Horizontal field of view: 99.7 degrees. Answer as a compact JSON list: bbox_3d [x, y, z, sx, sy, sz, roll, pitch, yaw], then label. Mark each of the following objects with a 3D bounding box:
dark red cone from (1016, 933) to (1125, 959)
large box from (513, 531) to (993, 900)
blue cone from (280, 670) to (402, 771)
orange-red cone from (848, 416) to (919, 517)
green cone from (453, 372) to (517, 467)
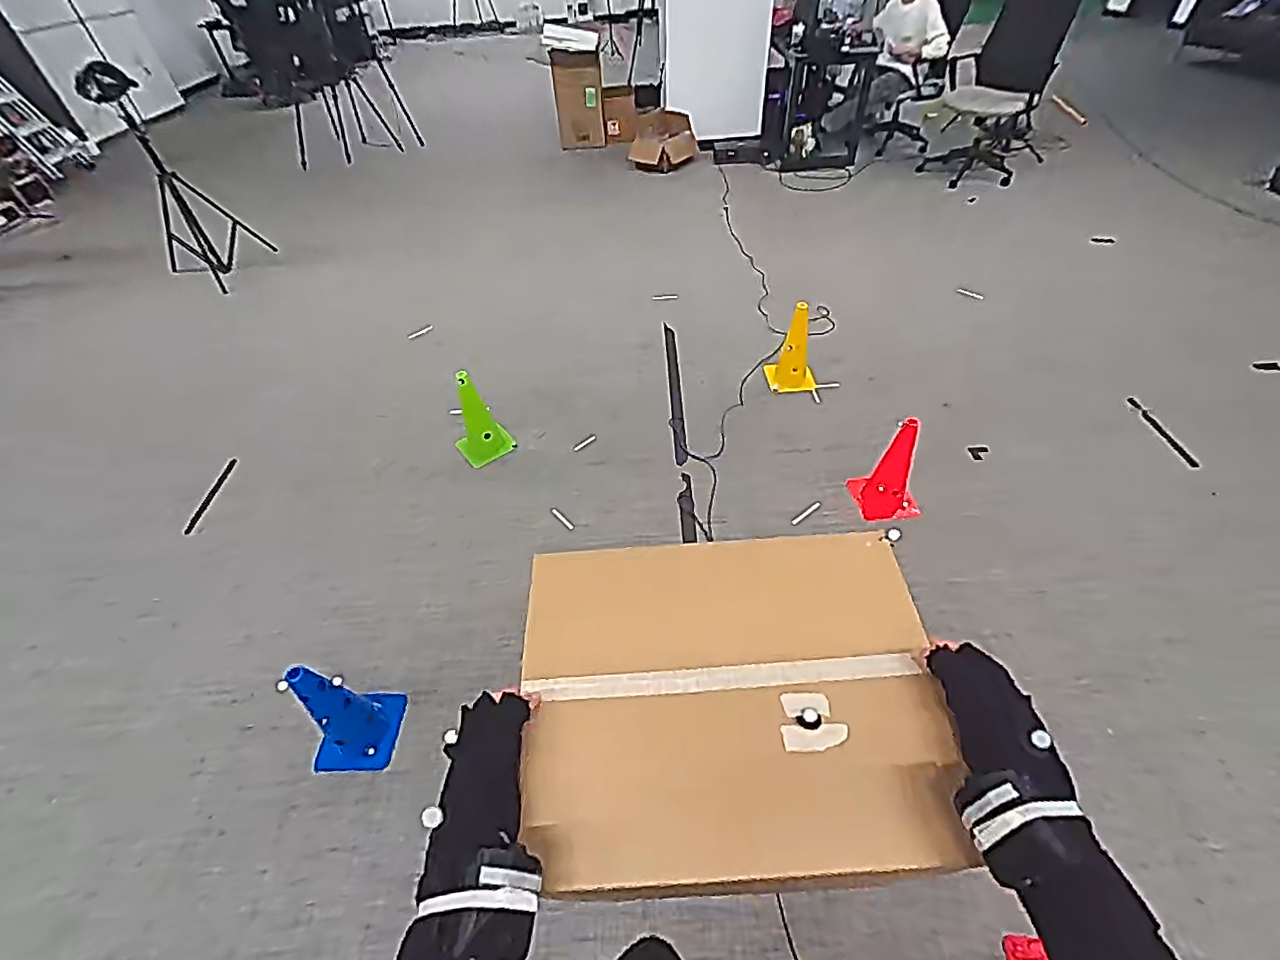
[{"bbox_3d":[0.815,0.861,0.880,0.201,0.394,0.202,0,46,6],"label":"dark red cone"},{"bbox_3d":[0.089,0.287,0.646,0.408,0.320,0.320,-4,51,0],"label":"large box"},{"bbox_3d":[-0.763,0.568,1.343,0.192,0.380,0.193,-2,46,4],"label":"blue cone"},{"bbox_3d":[0.849,-0.066,1.792,0.198,0.360,0.199,-5,45,-1],"label":"orange-red cone"},{"bbox_3d":[-0.644,-0.264,2.100,0.202,0.368,0.200,-33,52,-23],"label":"green cone"}]
